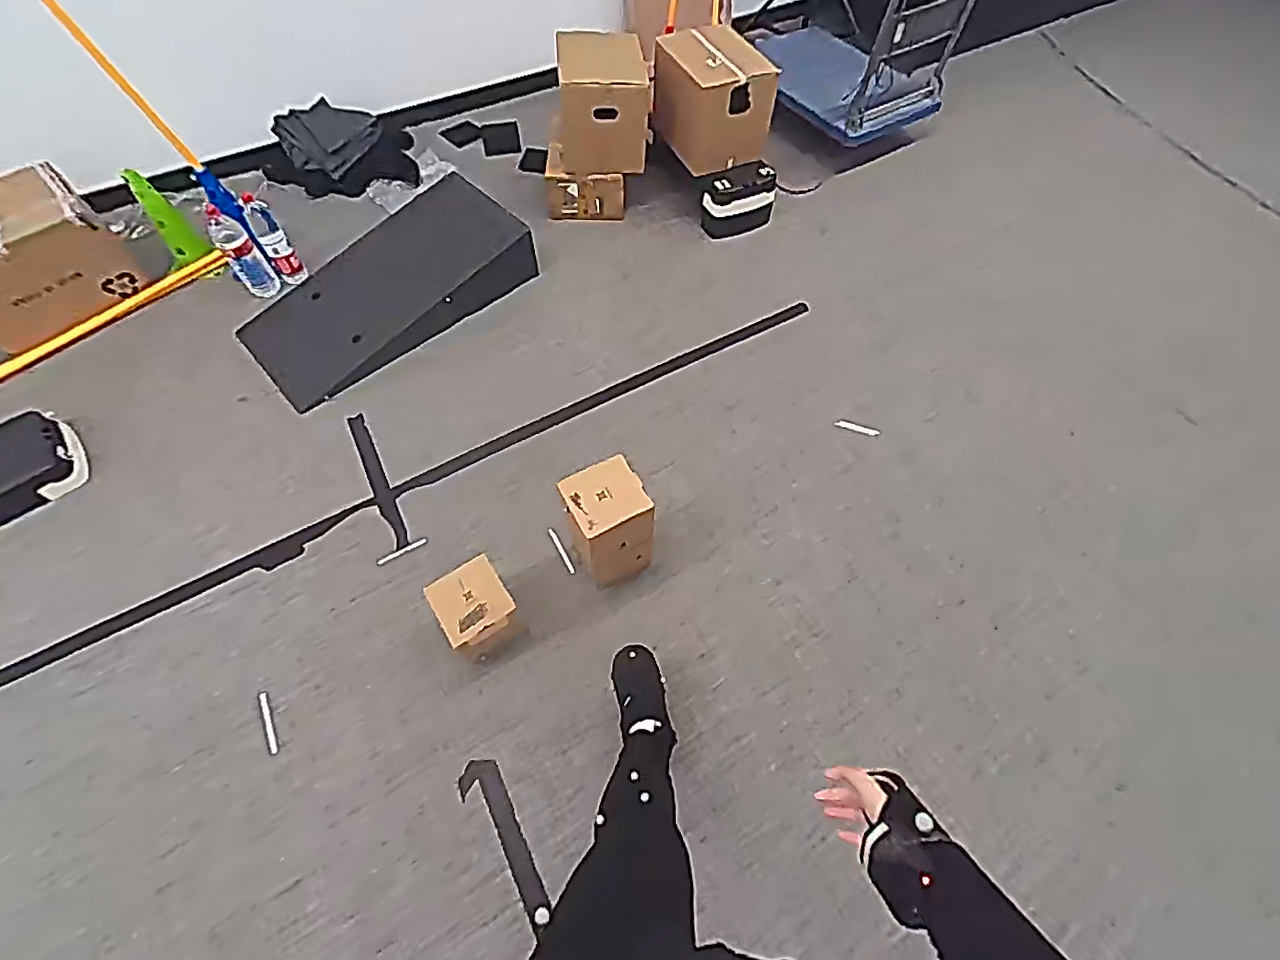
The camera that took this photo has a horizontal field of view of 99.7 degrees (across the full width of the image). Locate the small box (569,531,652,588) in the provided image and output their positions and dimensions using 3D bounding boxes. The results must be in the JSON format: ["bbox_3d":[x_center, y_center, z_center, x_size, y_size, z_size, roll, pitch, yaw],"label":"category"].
[{"bbox_3d":[-0.084,0.162,1.442,0.179,0.176,0.168,-24,63,-13],"label":"small box"}]

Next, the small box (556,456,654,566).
[{"bbox_3d":[-0.084,0.078,1.301,0.179,0.176,0.168,-25,62,-15],"label":"small box"}]

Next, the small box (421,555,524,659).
[{"bbox_3d":[-0.407,0.324,1.341,0.168,0.176,0.179,-31,64,-18],"label":"small box"}]
